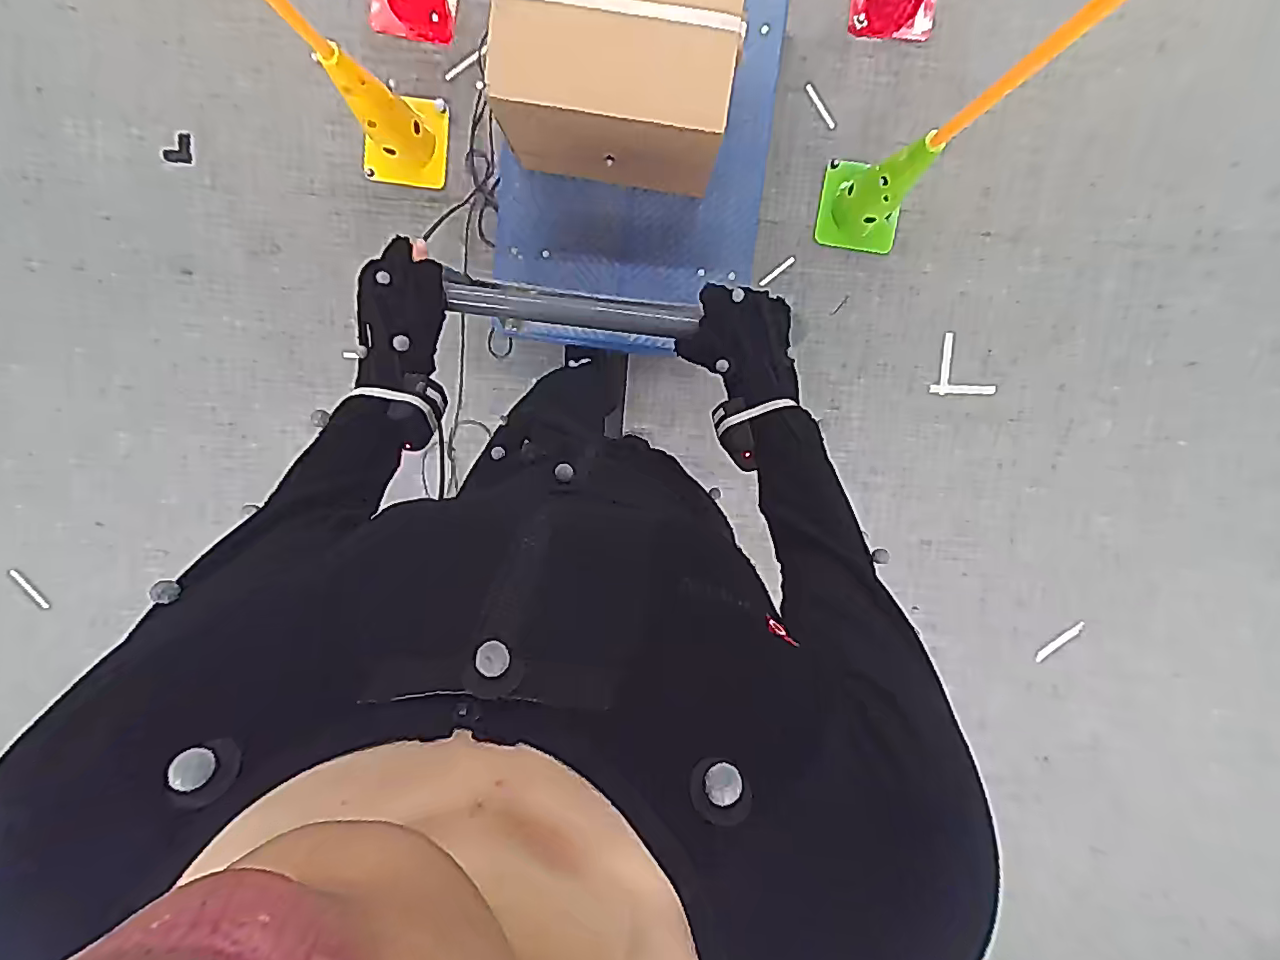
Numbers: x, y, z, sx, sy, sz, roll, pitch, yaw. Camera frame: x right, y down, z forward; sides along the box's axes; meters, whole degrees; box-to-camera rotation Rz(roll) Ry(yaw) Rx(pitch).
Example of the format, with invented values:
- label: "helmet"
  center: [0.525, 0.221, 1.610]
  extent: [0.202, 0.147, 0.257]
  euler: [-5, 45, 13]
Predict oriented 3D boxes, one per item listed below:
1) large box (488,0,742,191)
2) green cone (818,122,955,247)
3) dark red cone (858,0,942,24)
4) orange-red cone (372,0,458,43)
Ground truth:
- label: "large box"
  center: [-0.034, -0.777, 1.019]
  extent: [0.408, 0.320, 0.320]
  euler: [8, 100, 0]
- label: "green cone"
  center: [0.557, -0.668, 1.178]
  extent: [0.202, 0.368, 0.200]
  euler: [7, 99, -2]
- label: "dark red cone"
  center: [0.610, -1.141, 1.084]
  extent: [0.201, 0.394, 0.202]
  euler: [4, 100, -2]
- label: "orange-red cone"
  center: [-0.524, -1.135, 1.110]
  extent: [0.198, 0.360, 0.199]
  euler: [11, 98, -3]
